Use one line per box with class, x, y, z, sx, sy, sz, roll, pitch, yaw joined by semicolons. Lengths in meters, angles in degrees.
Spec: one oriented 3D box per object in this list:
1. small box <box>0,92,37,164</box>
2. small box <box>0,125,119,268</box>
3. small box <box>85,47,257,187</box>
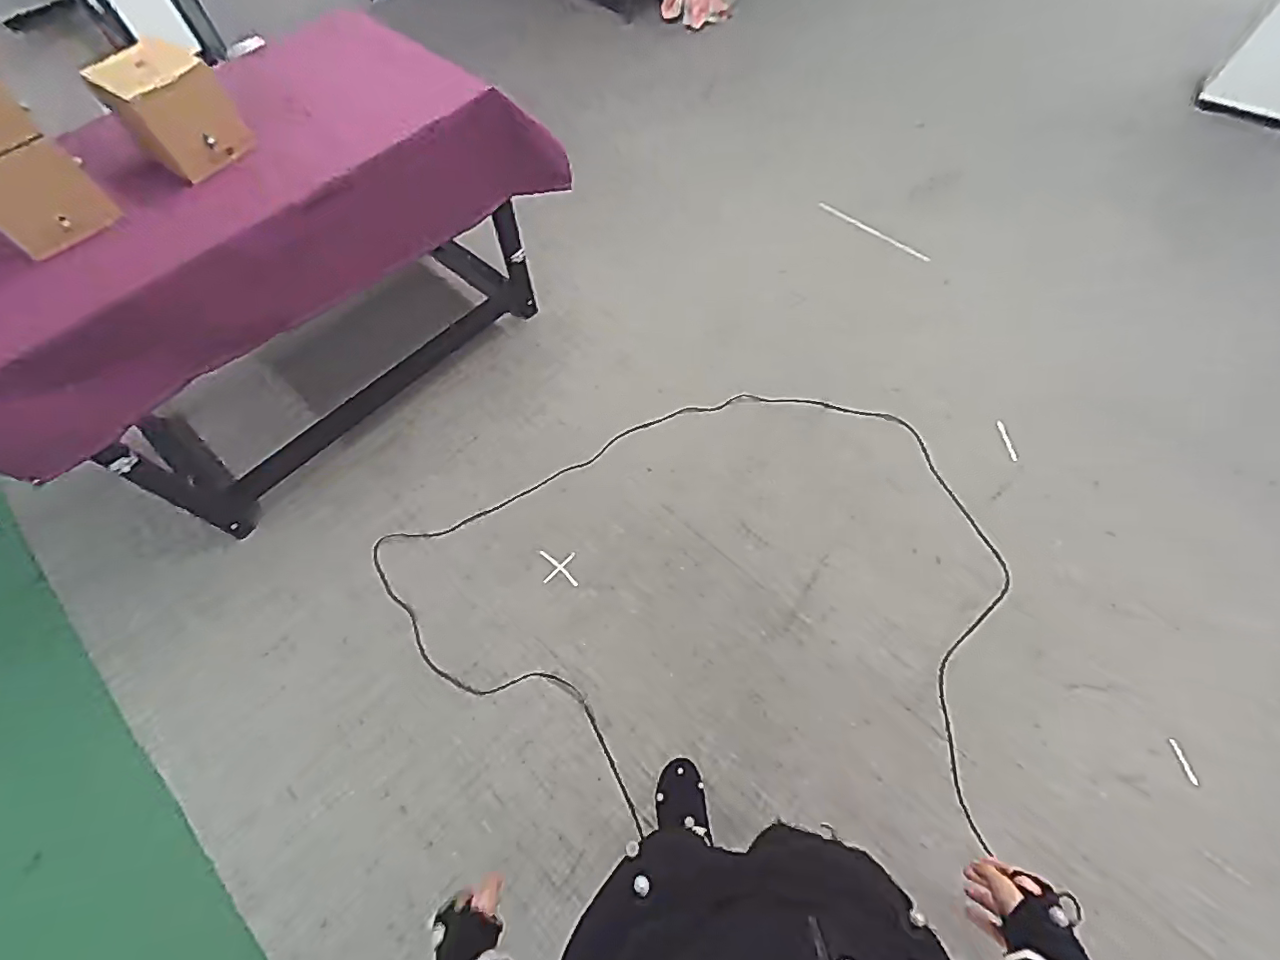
small box;-1.159;-0.620;0.878;0.168;0.176;0.179;37;70;18
small box;-1.157;-0.545;1.025;0.168;0.176;0.179;36;69;18
small box;-0.963;-0.749;1.126;0.179;0.176;0.168;32;68;15
